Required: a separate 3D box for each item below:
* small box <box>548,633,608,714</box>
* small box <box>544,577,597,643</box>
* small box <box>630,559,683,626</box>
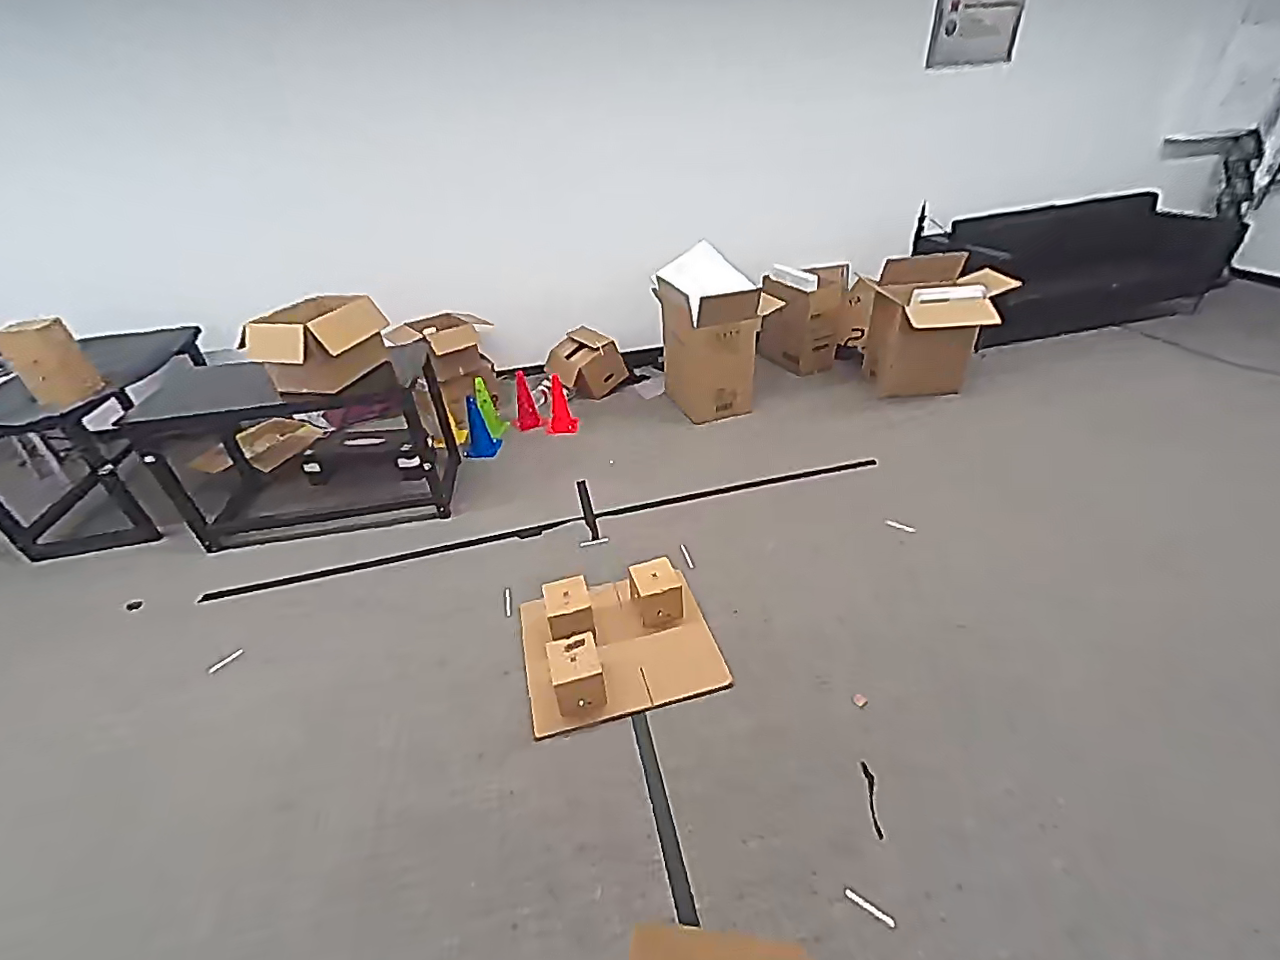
[{"bbox_3d":[-0.213,0.661,1.846,0.168,0.176,0.179,-13,36,-11],"label":"small box"},{"bbox_3d":[-0.267,0.506,2.079,0.168,0.176,0.179,-12,35,-10],"label":"small box"},{"bbox_3d":[0.065,0.446,2.141,0.168,0.176,0.179,-14,35,-13],"label":"small box"}]
